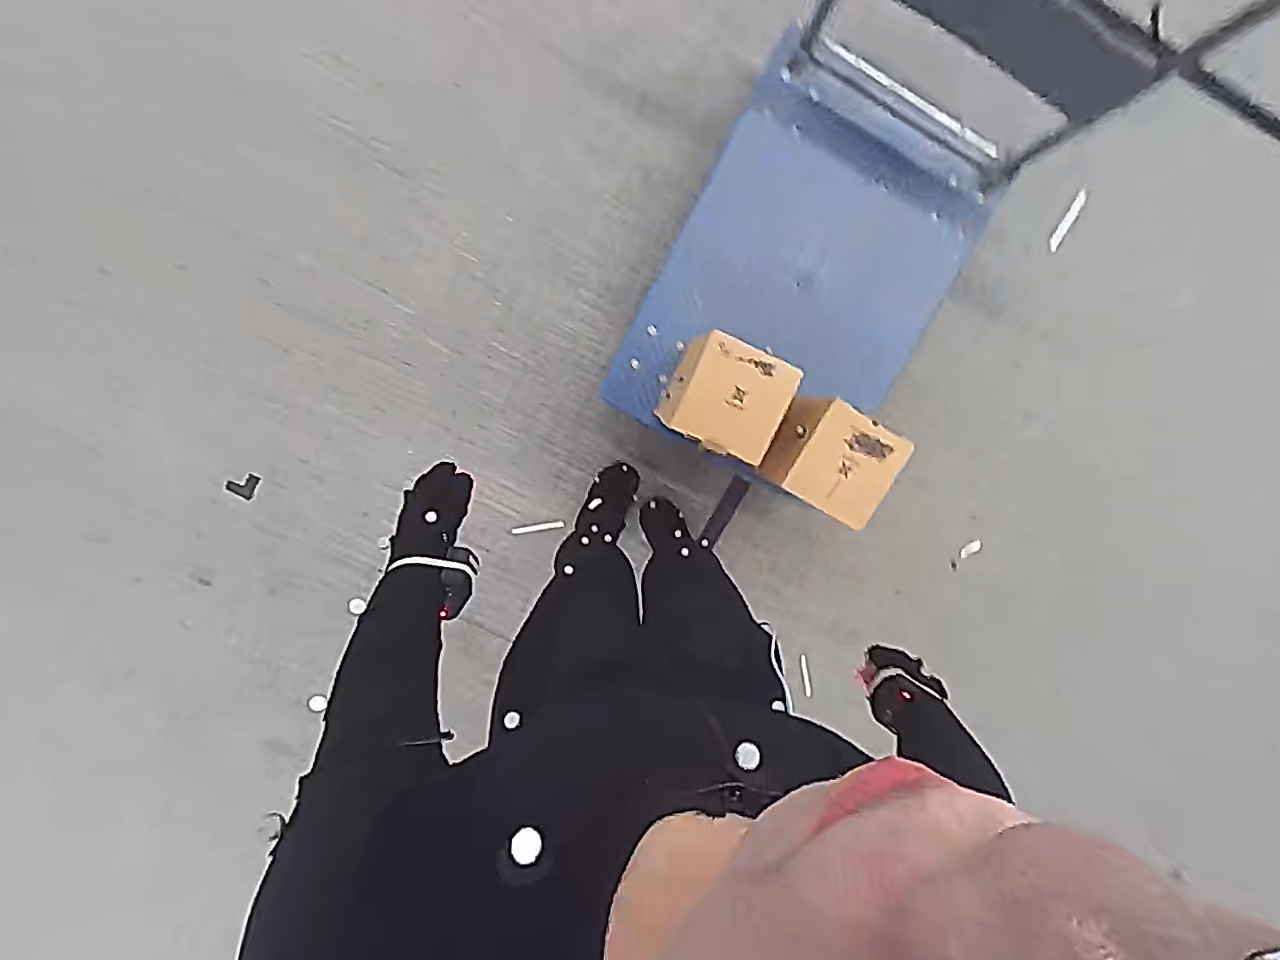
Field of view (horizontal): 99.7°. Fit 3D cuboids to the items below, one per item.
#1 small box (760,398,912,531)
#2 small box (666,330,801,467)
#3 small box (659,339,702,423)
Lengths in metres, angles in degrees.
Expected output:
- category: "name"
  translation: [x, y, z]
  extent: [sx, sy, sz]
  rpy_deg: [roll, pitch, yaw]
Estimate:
- category: "small box"
  translation: [0.345, -0.037, 0.990]
  extent: [0.168, 0.176, 0.179]
  rpy_deg: [30, 97, -8]
- category: "small box"
  translation: [0.154, -0.144, 0.964]
  extent: [0.168, 0.176, 0.179]
  rpy_deg: [25, 98, -7]
- category: "small box"
  translation: [0.148, -0.171, 1.127]
  extent: [0.168, 0.176, 0.179]
  rpy_deg: [26, 96, -7]
